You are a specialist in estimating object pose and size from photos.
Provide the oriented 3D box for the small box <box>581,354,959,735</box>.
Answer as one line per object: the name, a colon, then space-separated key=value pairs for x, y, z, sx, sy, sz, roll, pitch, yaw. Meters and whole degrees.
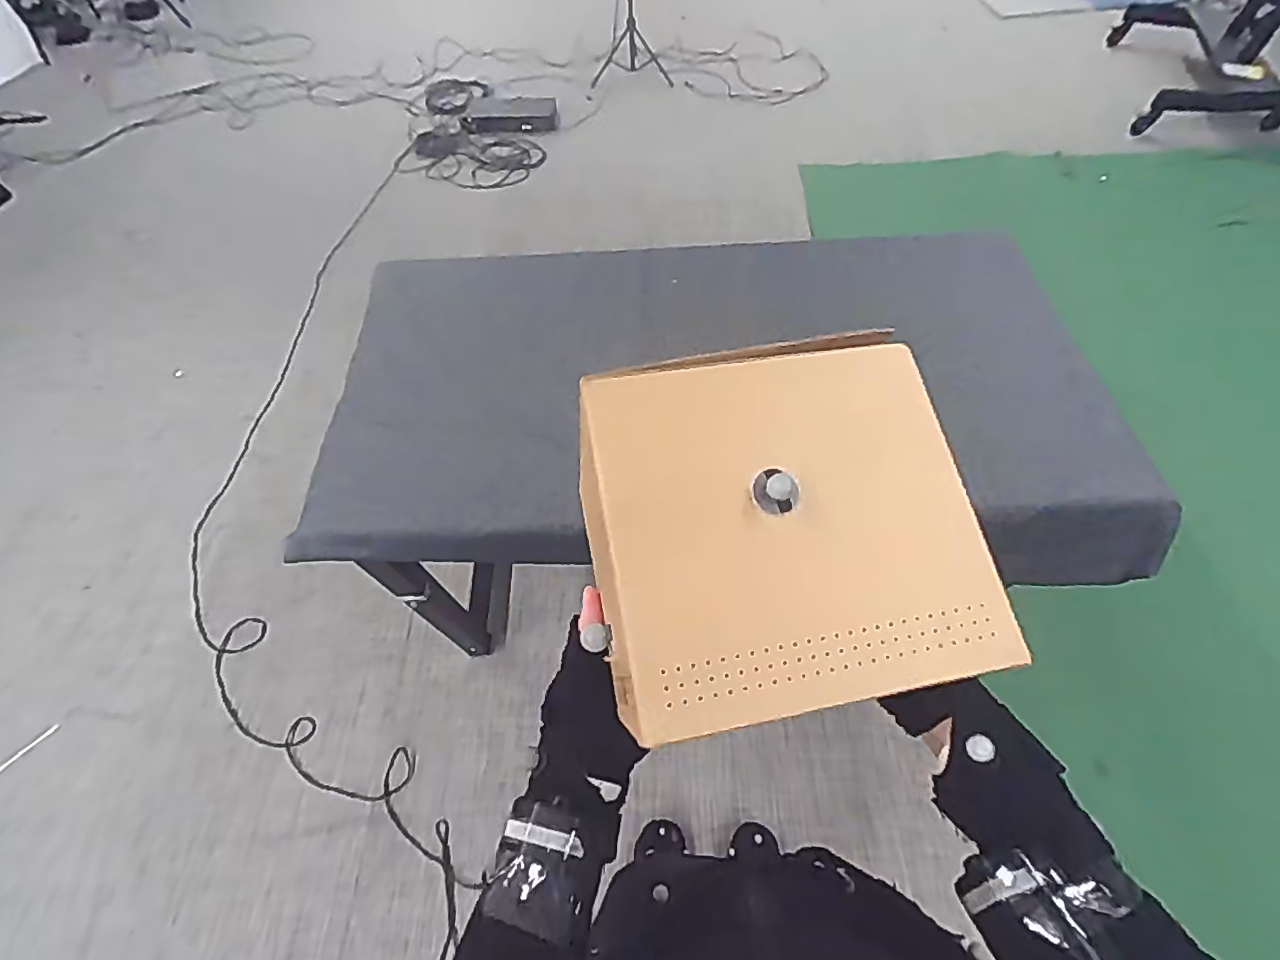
small box: x=0.063 y=0.045 z=0.339 sx=0.179 sy=0.168 sz=0.176 roll=-9 pitch=71 yaw=-8
